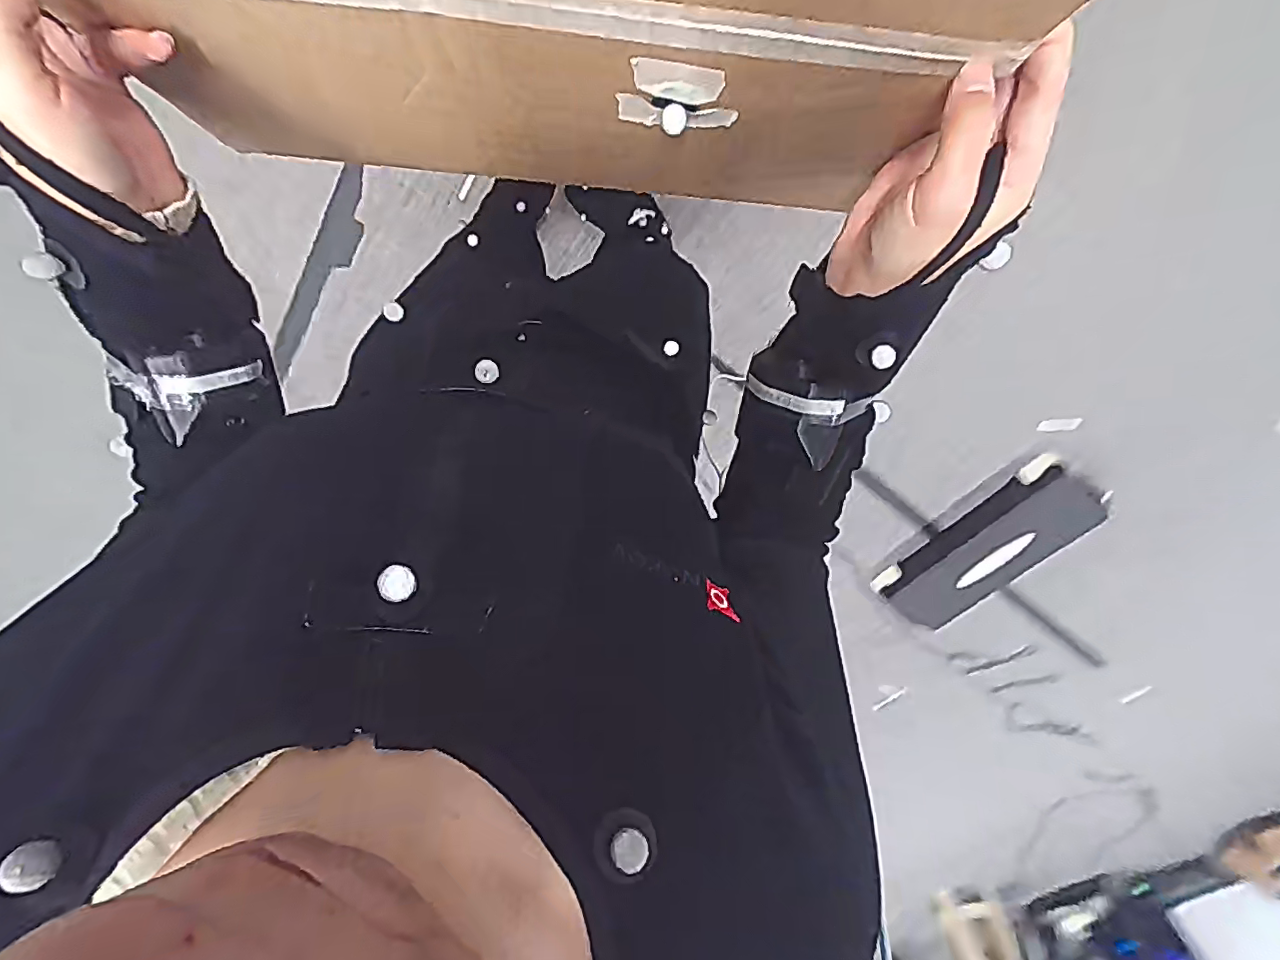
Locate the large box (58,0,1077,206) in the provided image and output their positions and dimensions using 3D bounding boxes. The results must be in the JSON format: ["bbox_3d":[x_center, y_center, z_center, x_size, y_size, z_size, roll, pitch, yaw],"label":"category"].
[{"bbox_3d":[-0.035,-0.338,0.199,0.408,0.320,0.320,4,96,-4],"label":"large box"}]
